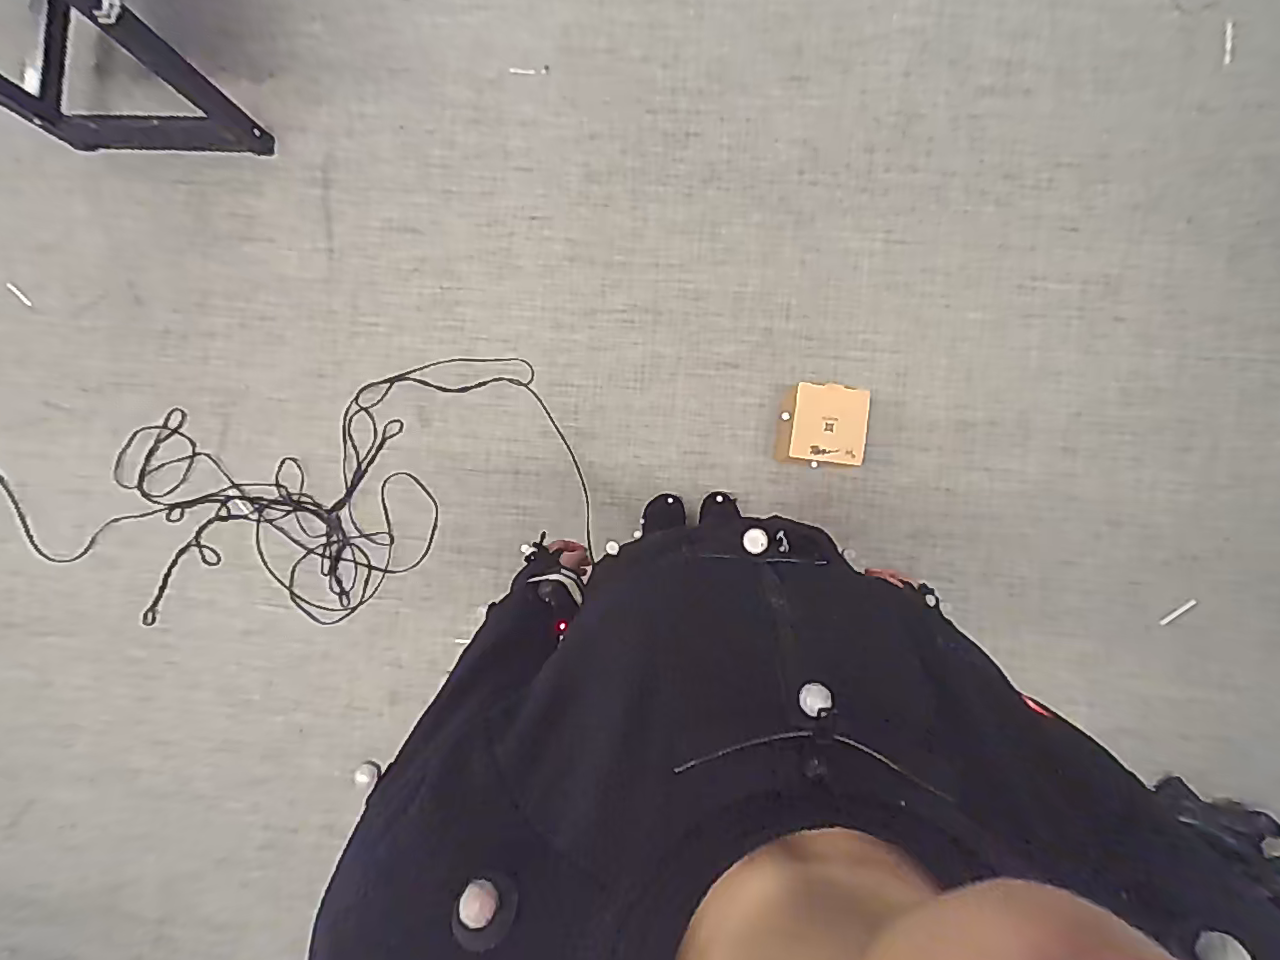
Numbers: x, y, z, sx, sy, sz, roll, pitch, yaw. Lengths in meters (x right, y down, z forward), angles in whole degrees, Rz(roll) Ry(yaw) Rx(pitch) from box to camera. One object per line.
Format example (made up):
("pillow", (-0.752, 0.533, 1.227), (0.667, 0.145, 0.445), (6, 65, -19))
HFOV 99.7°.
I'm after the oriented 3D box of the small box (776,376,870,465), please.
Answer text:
("small box", (0.430, -0.135, 1.292), (0.168, 0.176, 0.179), (7, 88, 3))
